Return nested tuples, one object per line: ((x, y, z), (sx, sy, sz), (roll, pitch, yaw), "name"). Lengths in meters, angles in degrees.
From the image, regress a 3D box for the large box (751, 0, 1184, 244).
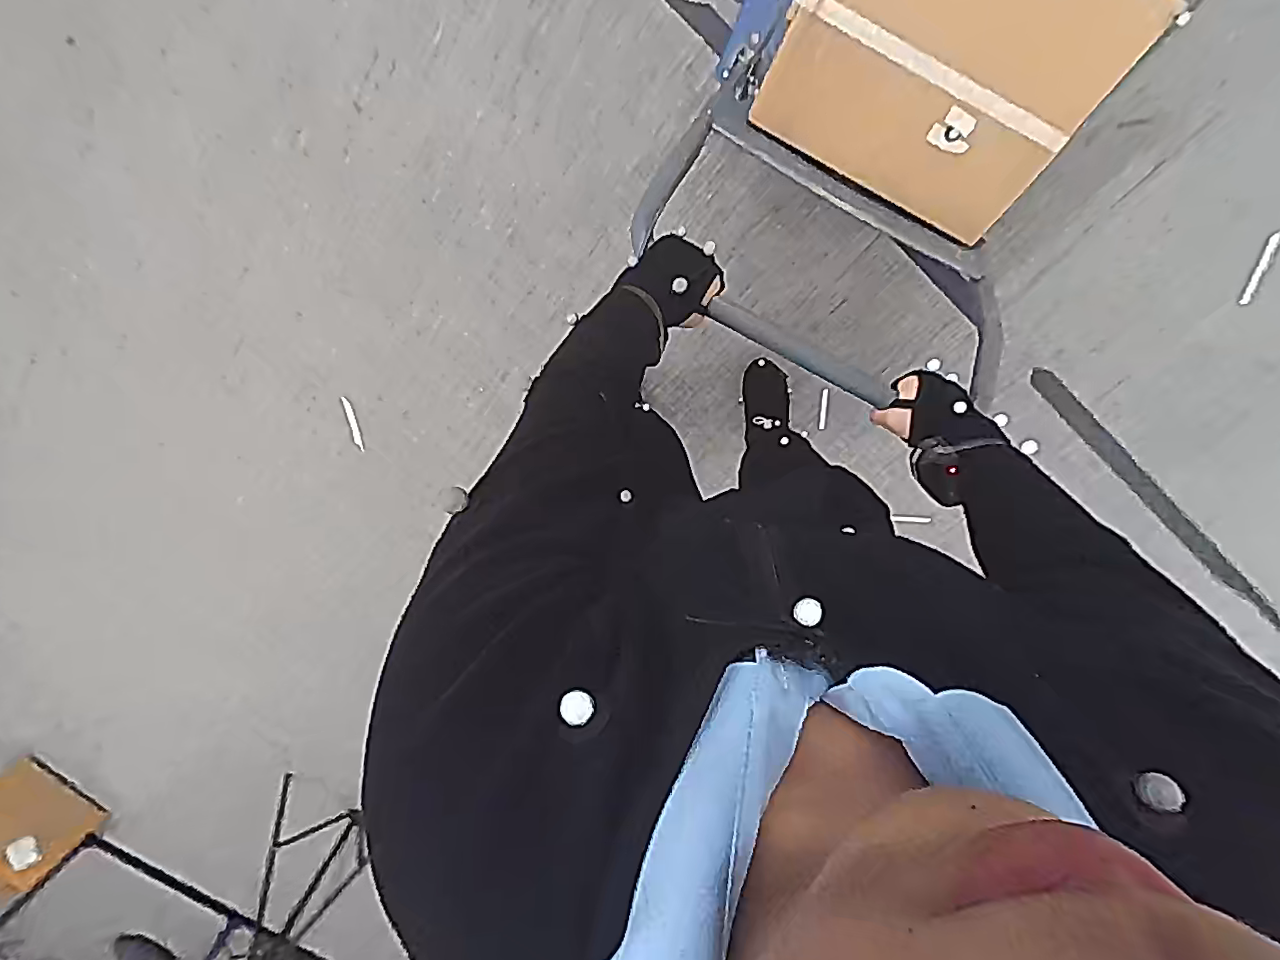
((0.429, -0.637, 0.808), (0.408, 0.320, 0.320), (26, 139, -5), "large box")
